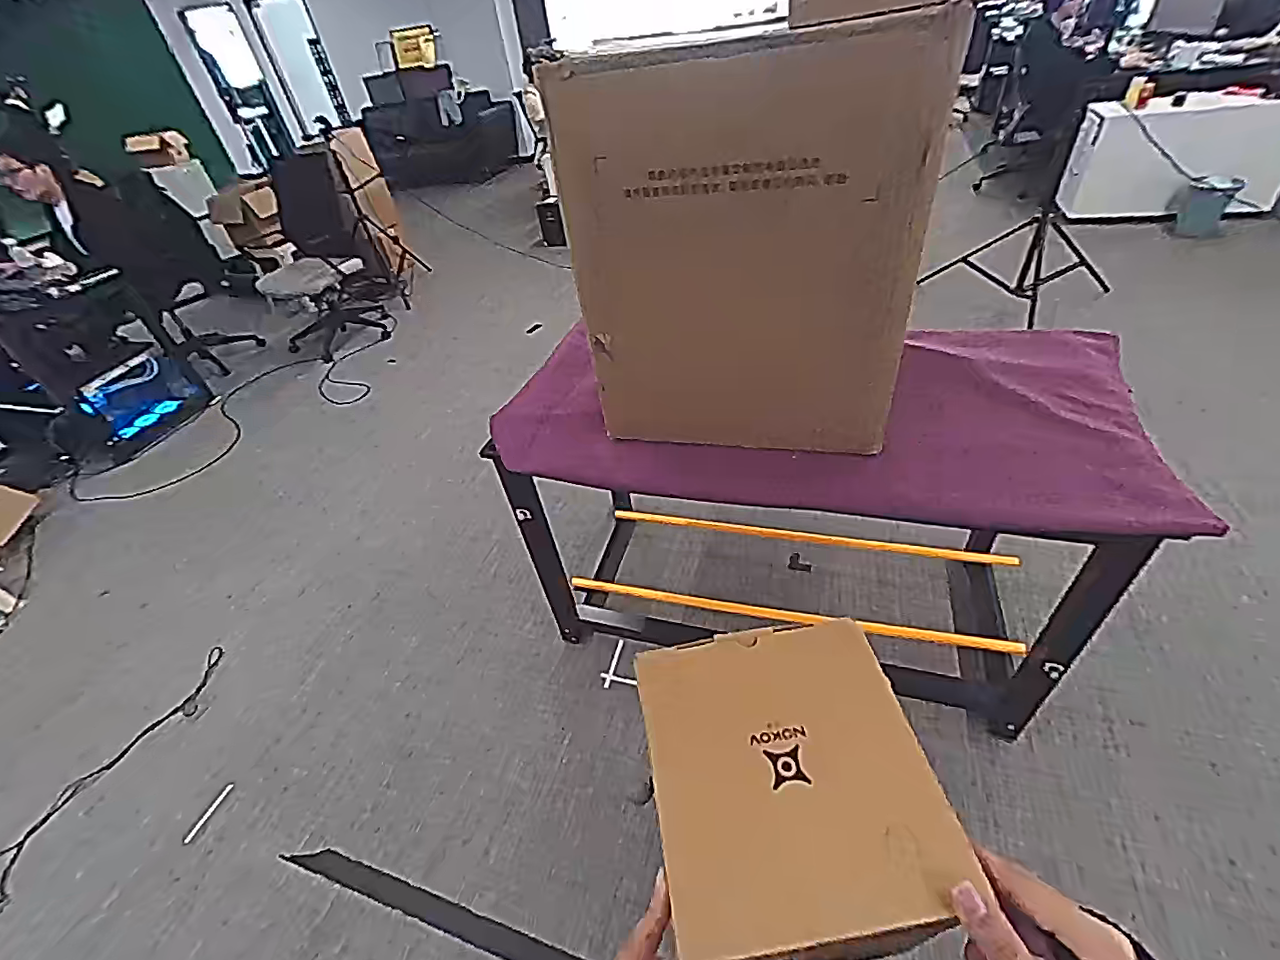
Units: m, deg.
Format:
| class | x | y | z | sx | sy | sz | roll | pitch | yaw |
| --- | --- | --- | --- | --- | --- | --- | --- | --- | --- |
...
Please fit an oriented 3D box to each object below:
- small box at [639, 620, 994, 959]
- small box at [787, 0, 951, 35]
| class | x | y | z | sx | sy | sz | roll | pitch | yaw |
| --- | --- | --- | --- | --- | --- | --- | --- | --- | --- |
| small box | 0.099 | 0.232 | 0.385 | 0.168 | 0.176 | 0.179 | -10 | 41 | -2 |
| small box | 0.259 | -0.627 | 0.611 | 0.179 | 0.176 | 0.168 | 2 | 43 | 15 |
